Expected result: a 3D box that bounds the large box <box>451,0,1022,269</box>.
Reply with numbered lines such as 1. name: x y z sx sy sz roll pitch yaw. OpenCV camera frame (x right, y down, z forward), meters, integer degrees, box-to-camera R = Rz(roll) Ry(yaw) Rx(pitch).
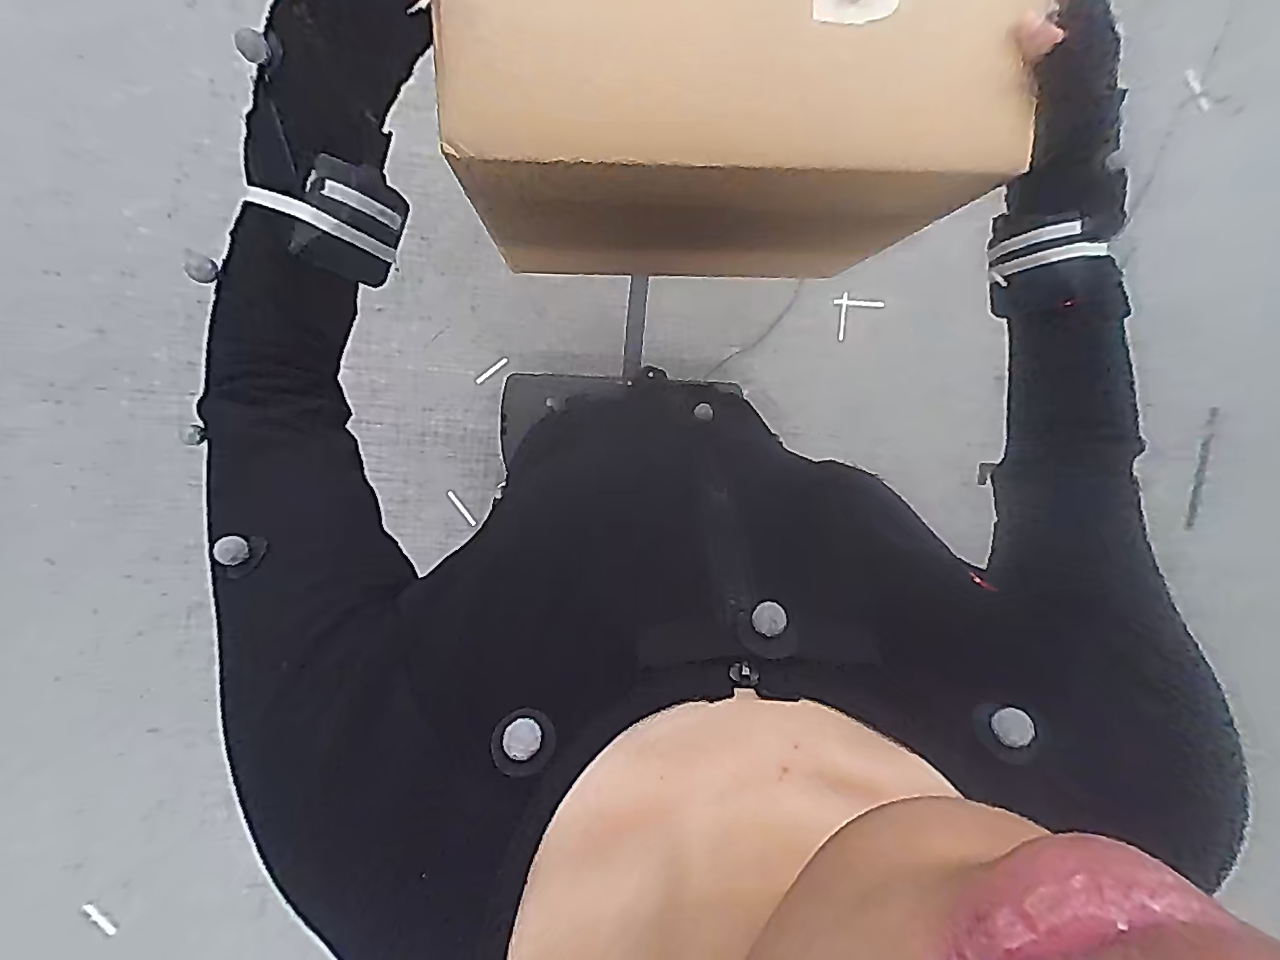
1. large box: 0.056 -0.397 0.507 0.408 0.320 0.320 -2 98 -6
